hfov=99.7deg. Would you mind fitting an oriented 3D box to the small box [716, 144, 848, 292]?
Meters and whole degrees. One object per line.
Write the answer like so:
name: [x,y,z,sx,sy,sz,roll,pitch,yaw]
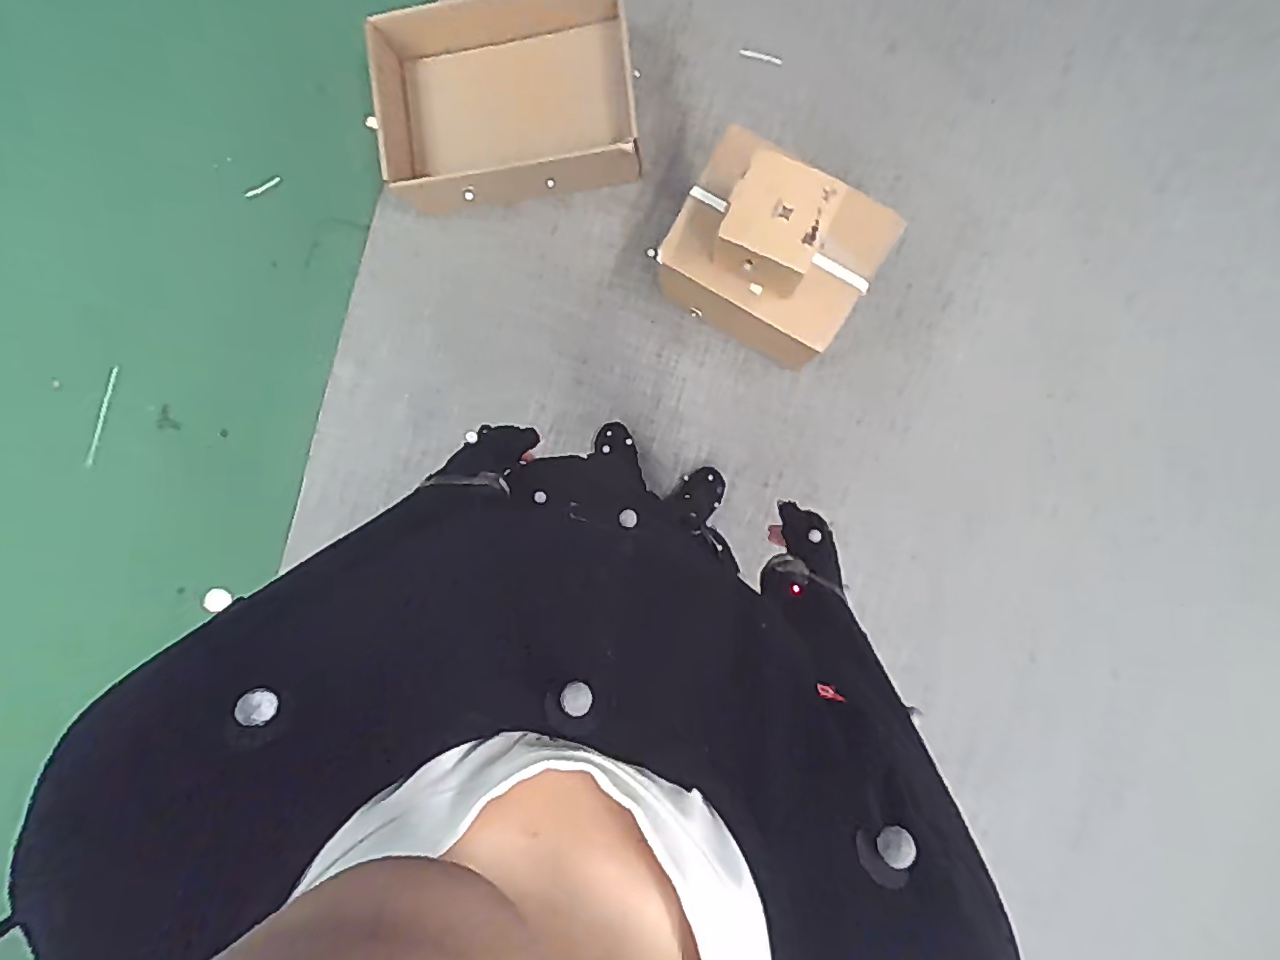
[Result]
small box: [0.254,-0.477,1.014,0.179,0.176,0.168,26,97,4]
